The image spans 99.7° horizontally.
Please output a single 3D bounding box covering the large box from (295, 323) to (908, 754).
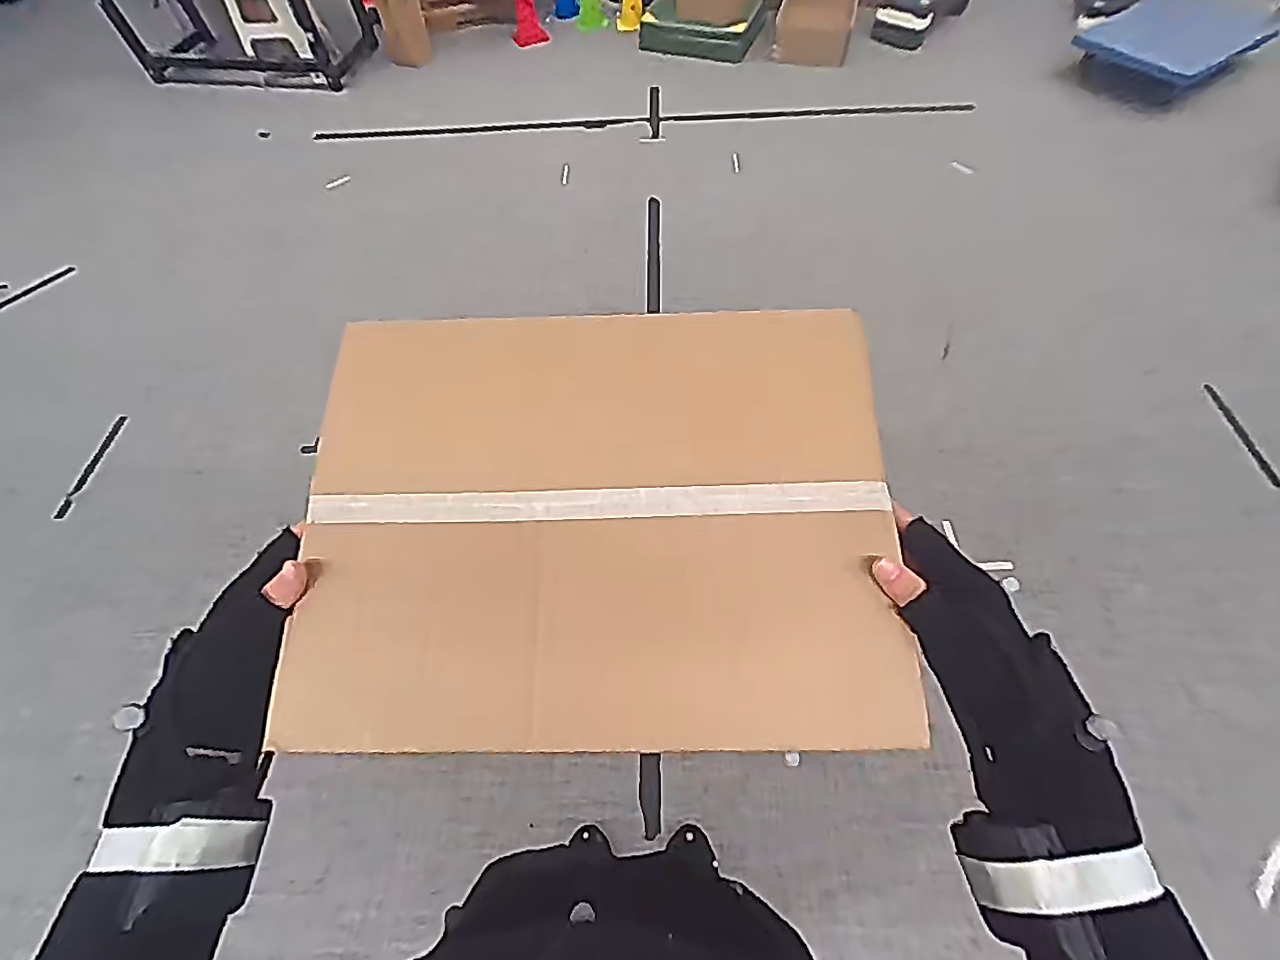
[{"bbox_3d":[-0.024,0.072,0.533,0.408,0.320,0.320,-1,70,2],"label":"large box"}]
